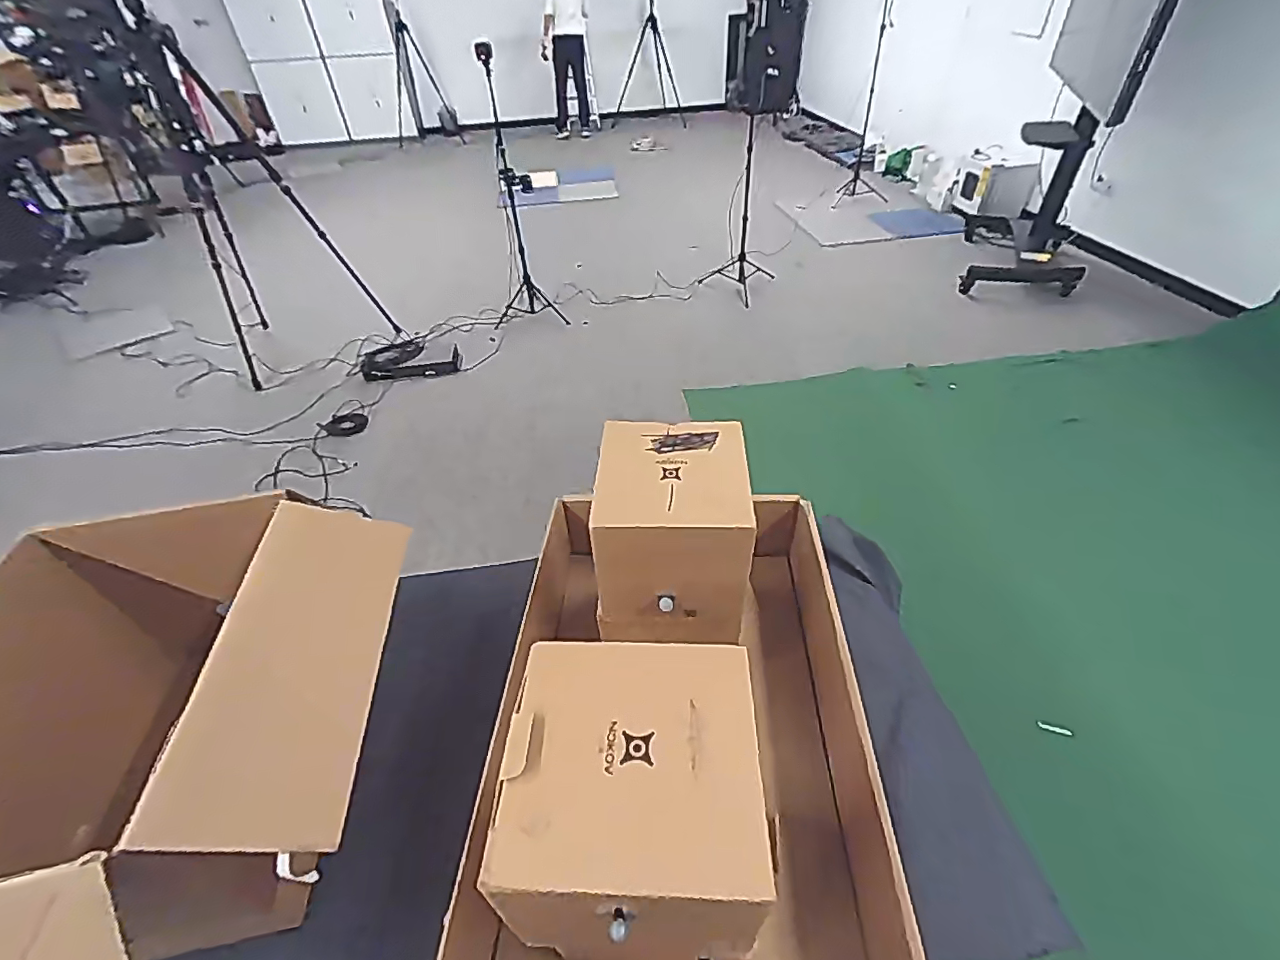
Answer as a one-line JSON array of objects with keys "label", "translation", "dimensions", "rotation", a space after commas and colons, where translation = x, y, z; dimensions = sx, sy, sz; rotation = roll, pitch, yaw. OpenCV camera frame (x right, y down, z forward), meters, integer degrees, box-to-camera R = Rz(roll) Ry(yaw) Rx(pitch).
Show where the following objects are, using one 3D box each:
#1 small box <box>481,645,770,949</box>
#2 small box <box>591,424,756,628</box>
[{"label": "small box", "translation": [-0.003, 0.250, 0.429], "dimensions": [0.179, 0.176, 0.168], "rotation": [1, 42, 3]}, {"label": "small box", "translation": [0.040, 0.052, 0.643], "dimensions": [0.168, 0.176, 0.179], "rotation": [1, 43, 4]}]
